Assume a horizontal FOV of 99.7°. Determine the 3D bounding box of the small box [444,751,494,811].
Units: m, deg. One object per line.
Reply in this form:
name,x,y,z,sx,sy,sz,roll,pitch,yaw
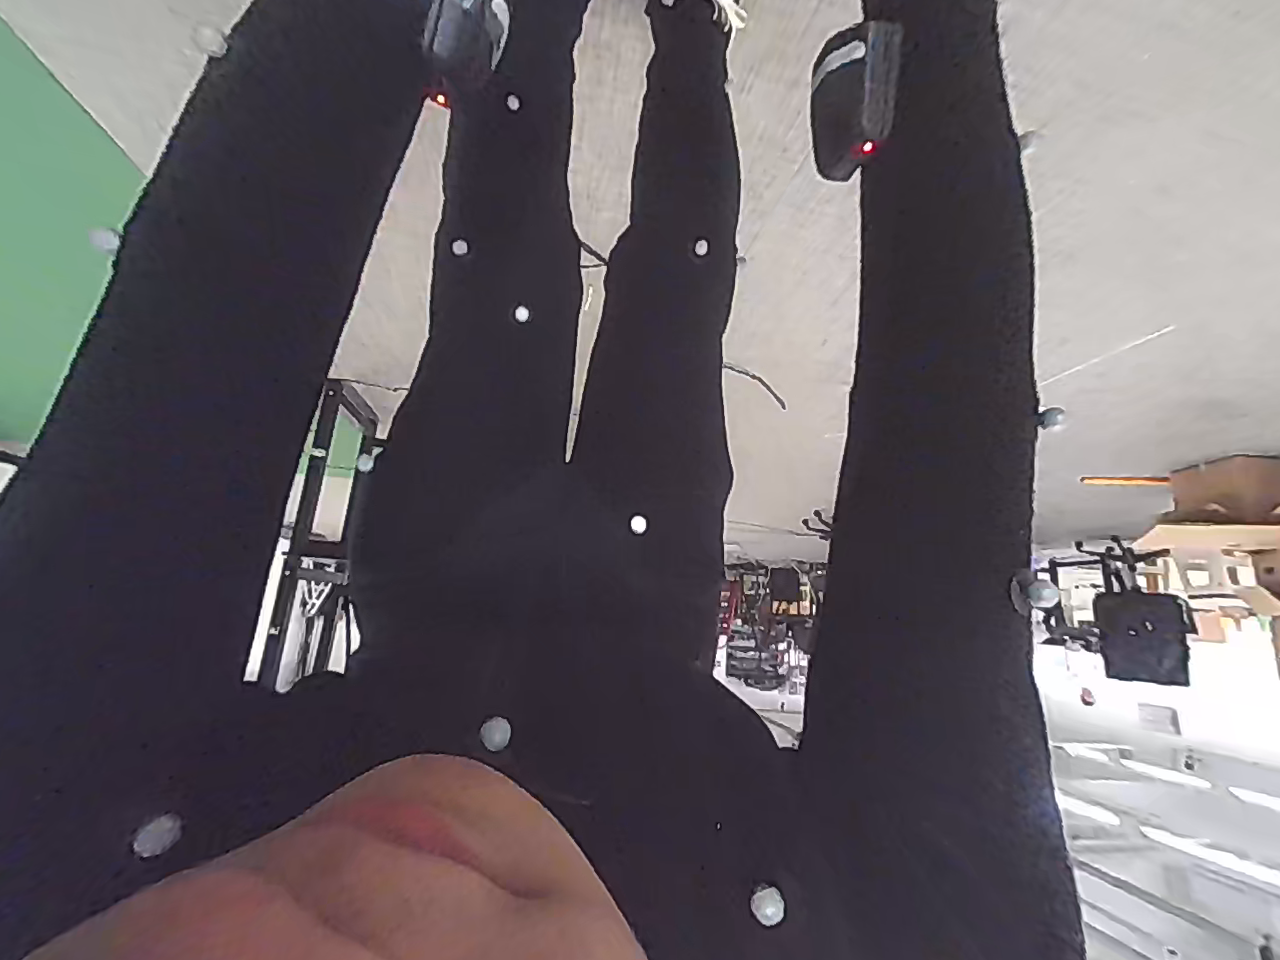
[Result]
small box,-0.672,1.183,2.135,0.168,0.176,0.179,8,167,-12
